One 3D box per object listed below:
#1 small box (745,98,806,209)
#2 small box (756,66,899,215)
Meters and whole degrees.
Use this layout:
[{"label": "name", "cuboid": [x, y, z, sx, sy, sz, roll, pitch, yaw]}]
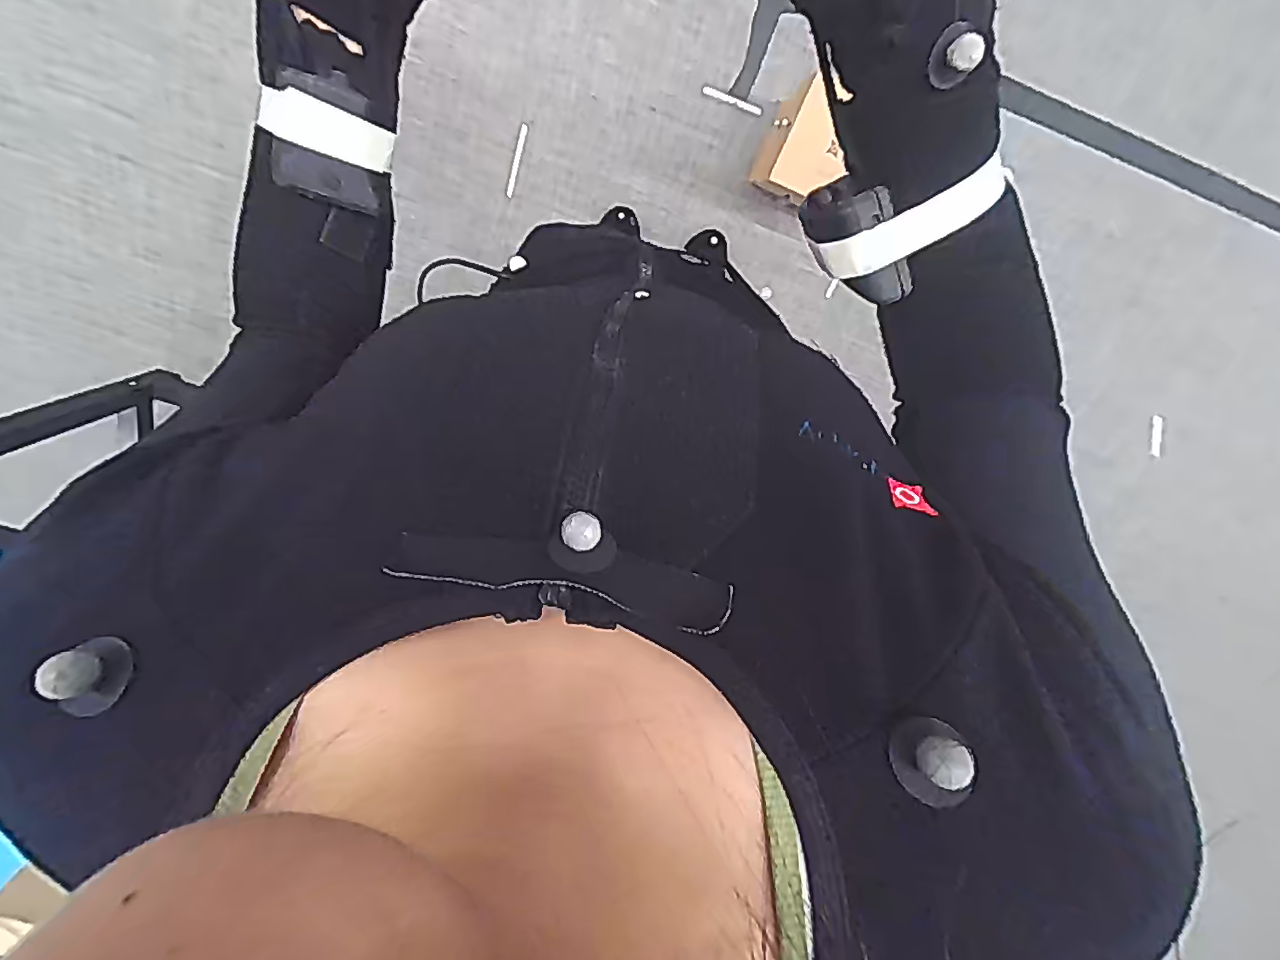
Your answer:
[{"label": "small box", "cuboid": [0.345, -0.690, 1.147, 0.179, 0.176, 0.168, 21, 115, -10]}, {"label": "small box", "cuboid": [0.331, -0.616, 1.002, 0.168, 0.176, 0.179, 22, 116, -8]}]
